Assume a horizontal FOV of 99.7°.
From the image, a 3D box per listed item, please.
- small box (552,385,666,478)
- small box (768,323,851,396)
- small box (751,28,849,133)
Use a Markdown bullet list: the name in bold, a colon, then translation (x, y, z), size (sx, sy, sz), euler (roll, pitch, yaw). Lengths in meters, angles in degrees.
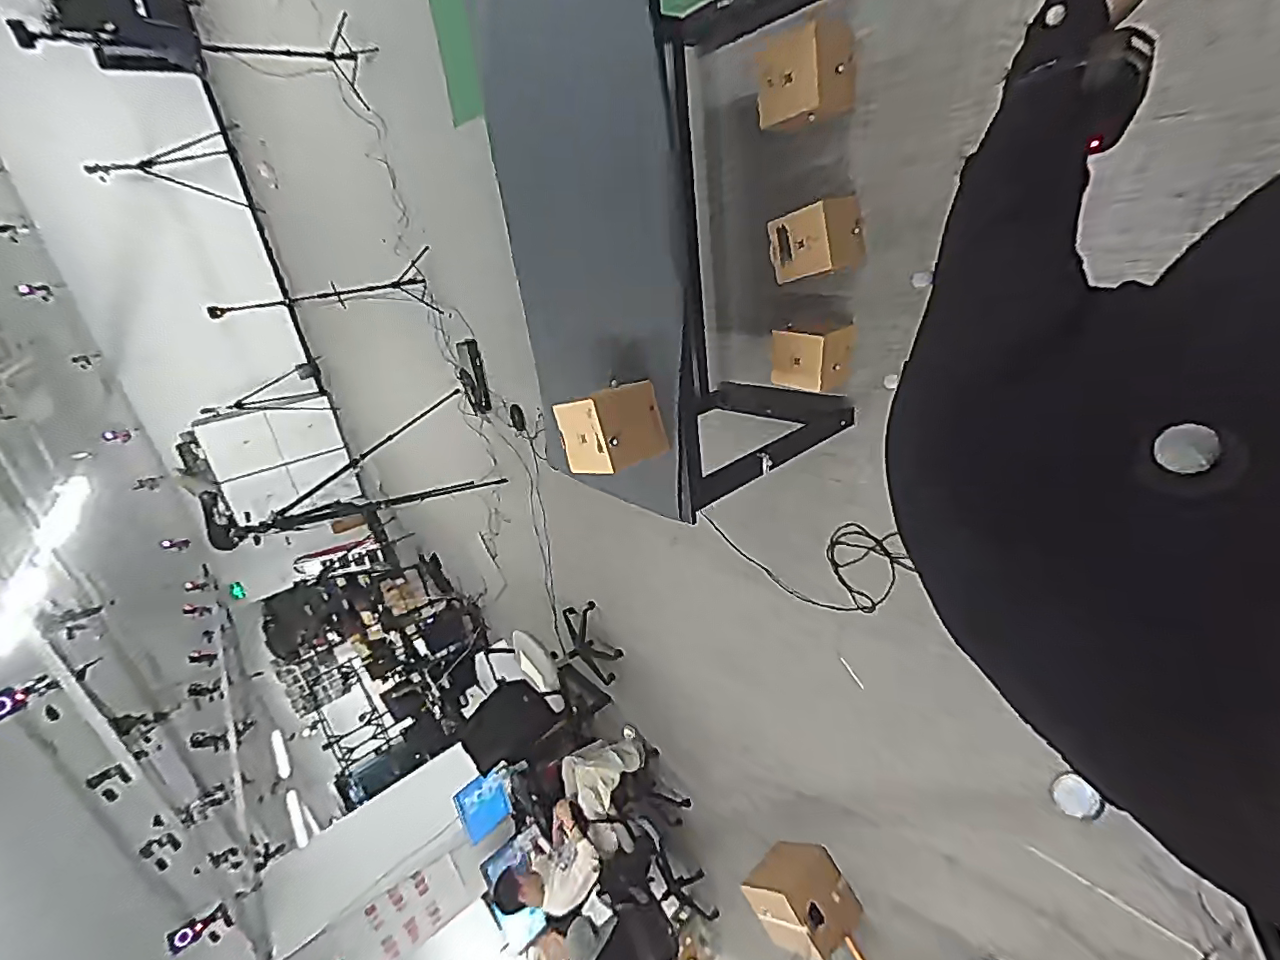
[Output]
- **small box**: translation (-0.069, -0.112, 1.235), size (0.179, 0.176, 0.168), euler (3, 113, 53)
- **small box**: translation (0.505, -0.366, 1.612), size (0.179, 0.176, 0.168), euler (25, 130, 44)
- **small box**: translation (0.405, -0.985, 1.347), size (0.179, 0.176, 0.168), euler (14, 121, 49)
